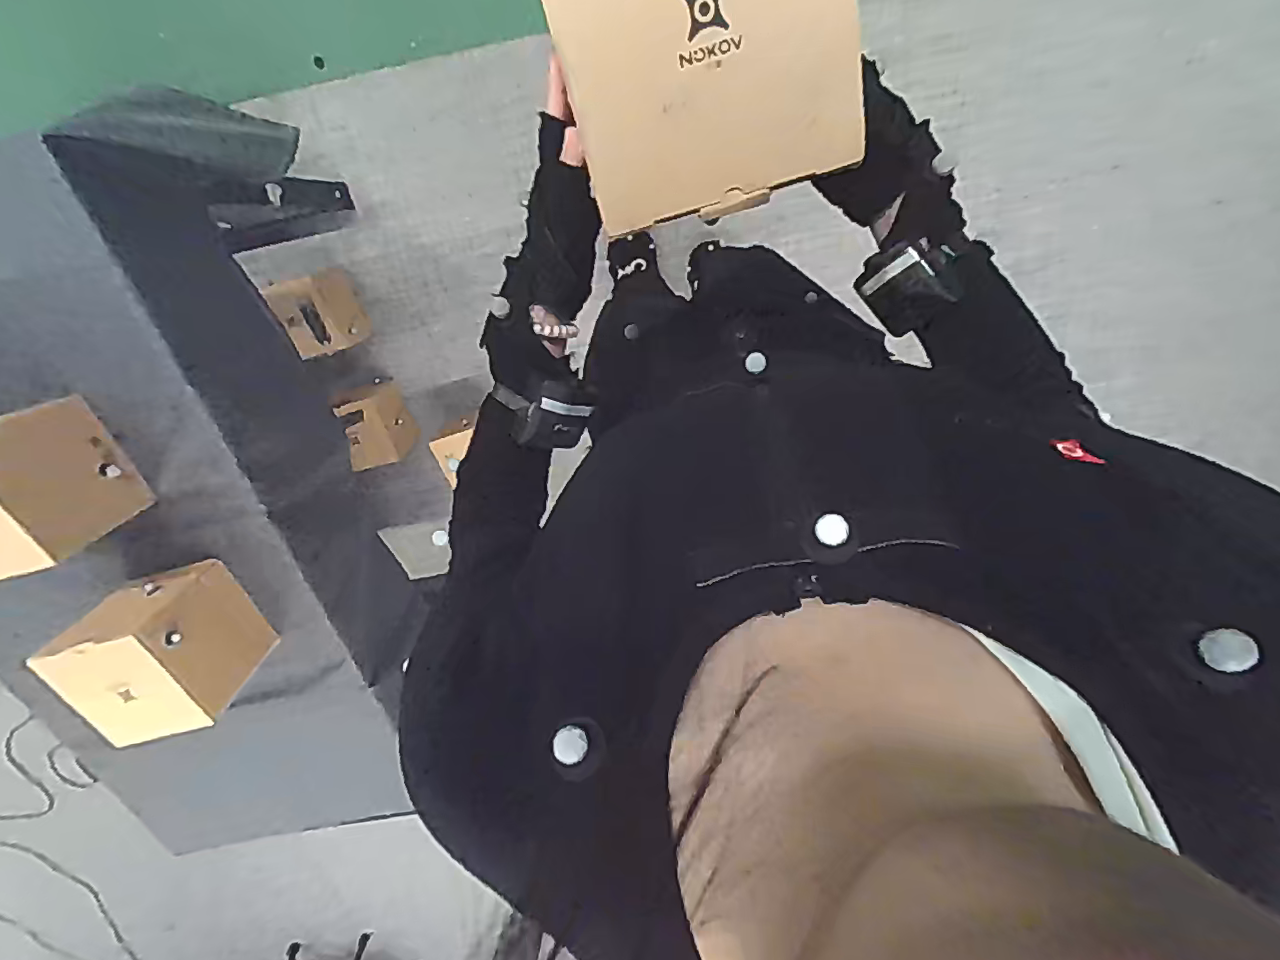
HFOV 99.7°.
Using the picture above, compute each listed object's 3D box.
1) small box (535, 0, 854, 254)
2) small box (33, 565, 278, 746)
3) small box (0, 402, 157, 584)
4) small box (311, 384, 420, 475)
[{"bbox_3d":[0.030,-0.275,0.366,0.168,0.176,0.179,-14,120,4],"label":"small box"},{"bbox_3d":[-0.693,0.255,0.804,0.168,0.176,0.179,-15,116,6],"label":"small box"},{"bbox_3d":[-0.788,0.019,0.681,0.179,0.176,0.168,-13,117,5],"label":"small box"},{"bbox_3d":[-0.707,-0.141,1.415,0.168,0.176,0.179,-12,118,5],"label":"small box"}]
